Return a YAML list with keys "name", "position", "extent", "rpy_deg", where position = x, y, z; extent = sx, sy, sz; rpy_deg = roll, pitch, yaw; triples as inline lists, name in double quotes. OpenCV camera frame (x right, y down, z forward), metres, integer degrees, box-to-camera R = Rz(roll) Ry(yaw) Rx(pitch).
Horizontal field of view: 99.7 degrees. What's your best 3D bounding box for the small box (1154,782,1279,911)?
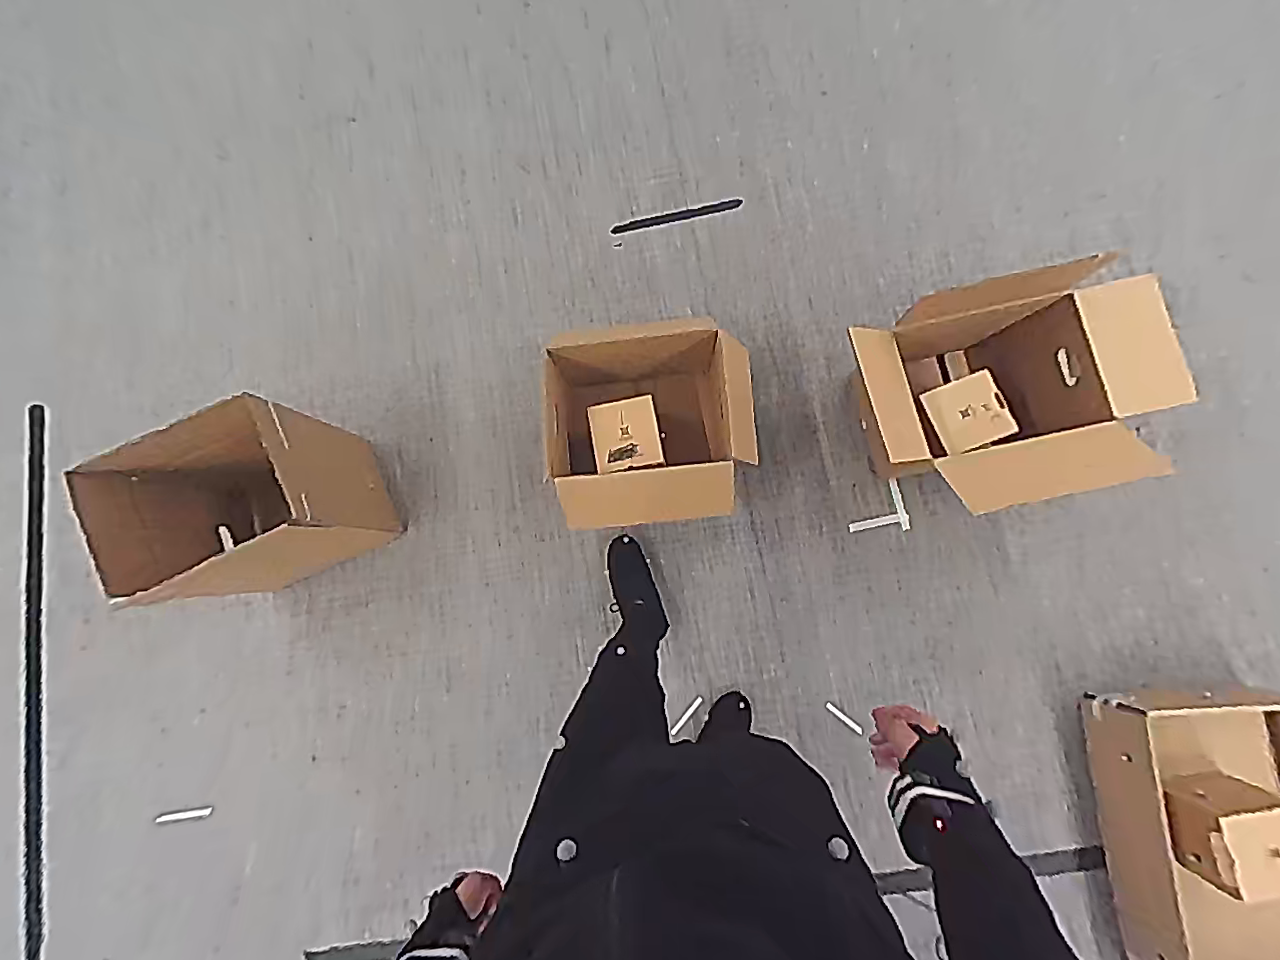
- name: "small box"
  position: [1.262, 0.773, 1.156]
  extent: [0.179, 0.176, 0.168]
  rpy_deg: [-9, 82, 2]
